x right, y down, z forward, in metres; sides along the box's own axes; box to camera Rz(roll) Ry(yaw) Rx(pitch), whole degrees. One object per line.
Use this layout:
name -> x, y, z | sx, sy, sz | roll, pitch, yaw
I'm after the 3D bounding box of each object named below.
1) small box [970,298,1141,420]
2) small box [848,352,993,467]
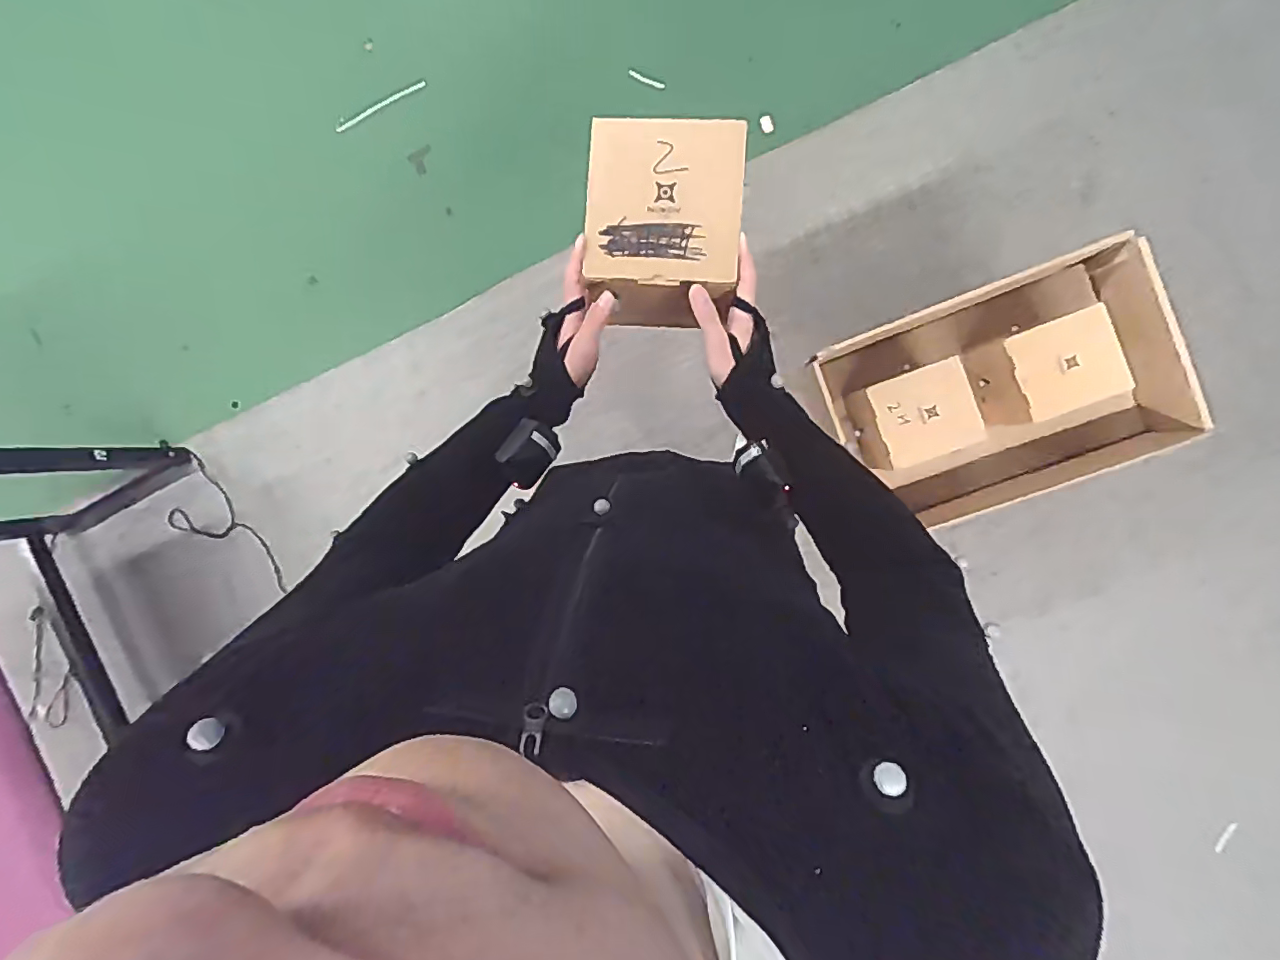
small box -> 0.776, -0.220, 1.029 | 0.179, 0.176, 0.168 | -21, 91, 9
small box -> 0.537, -0.134, 1.057 | 0.179, 0.176, 0.168 | -20, 91, 7
